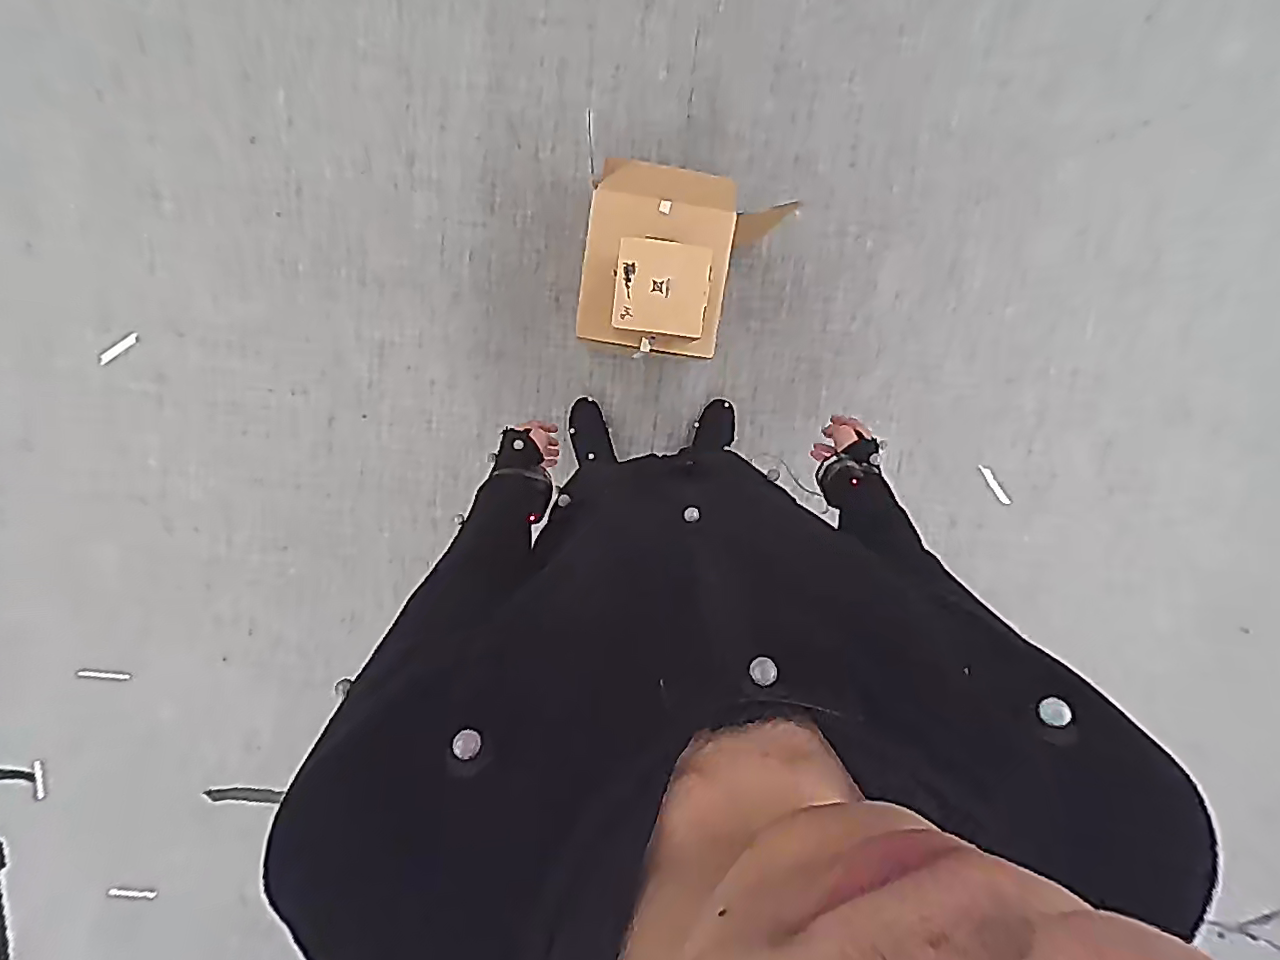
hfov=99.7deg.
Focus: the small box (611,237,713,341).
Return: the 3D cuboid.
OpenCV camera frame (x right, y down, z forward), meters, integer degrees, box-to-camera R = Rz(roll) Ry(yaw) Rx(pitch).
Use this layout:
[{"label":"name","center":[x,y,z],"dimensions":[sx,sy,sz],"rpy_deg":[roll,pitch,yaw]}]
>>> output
[{"label":"small box","center":[0.037,-0.379,1.101],"dimensions":[0.179,0.176,0.168],"rpy_deg":[7,101,-4]}]
